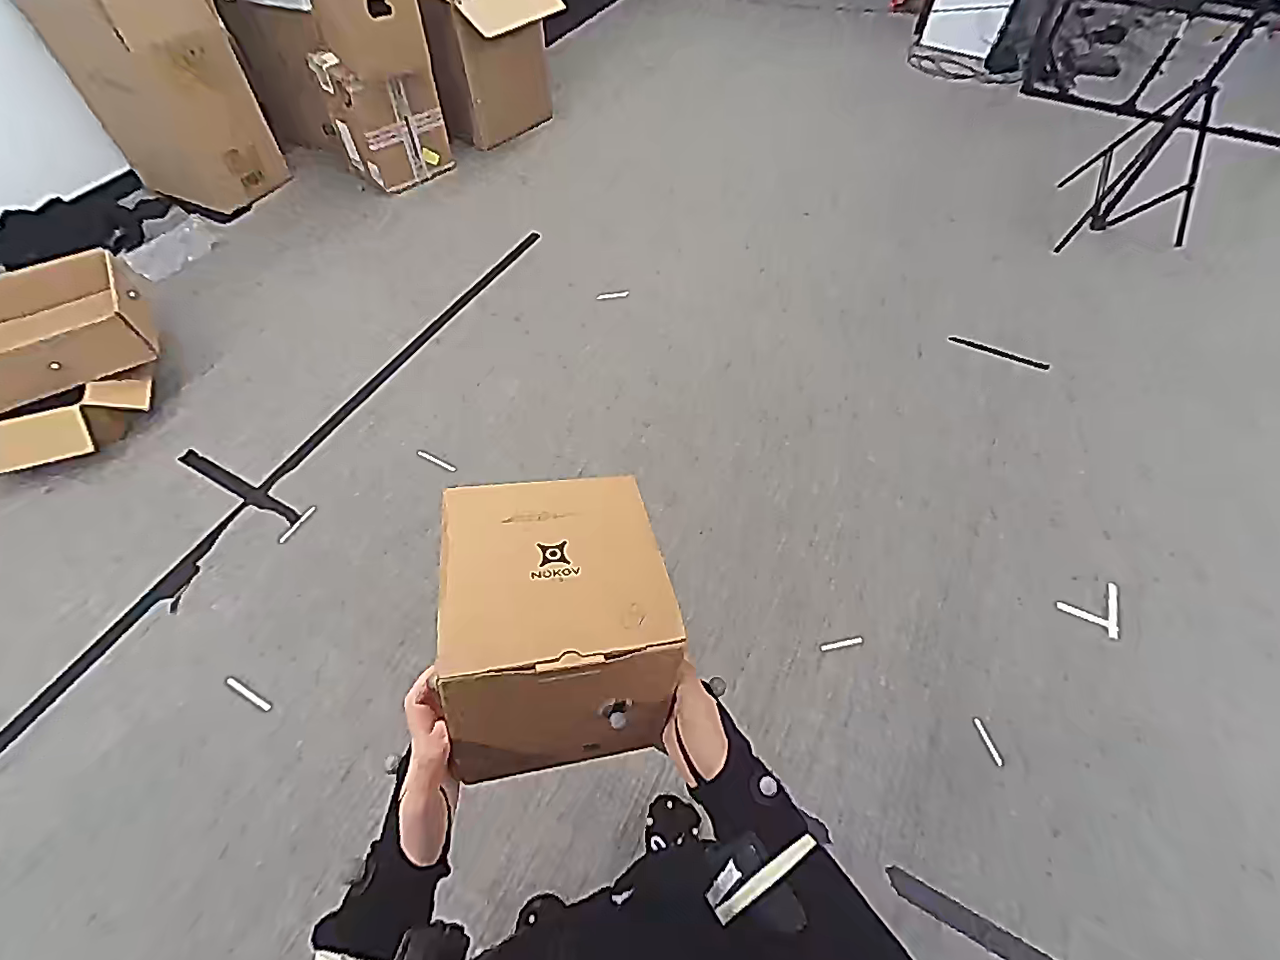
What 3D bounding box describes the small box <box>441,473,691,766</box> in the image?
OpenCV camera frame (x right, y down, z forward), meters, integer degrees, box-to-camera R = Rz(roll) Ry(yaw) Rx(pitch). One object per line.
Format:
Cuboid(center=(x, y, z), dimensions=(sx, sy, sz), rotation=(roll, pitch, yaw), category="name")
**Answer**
Cuboid(center=(-0.070, 0.117, 0.458), dimensions=(0.168, 0.176, 0.179), rotation=(-4, 42, -15), category="small box")
